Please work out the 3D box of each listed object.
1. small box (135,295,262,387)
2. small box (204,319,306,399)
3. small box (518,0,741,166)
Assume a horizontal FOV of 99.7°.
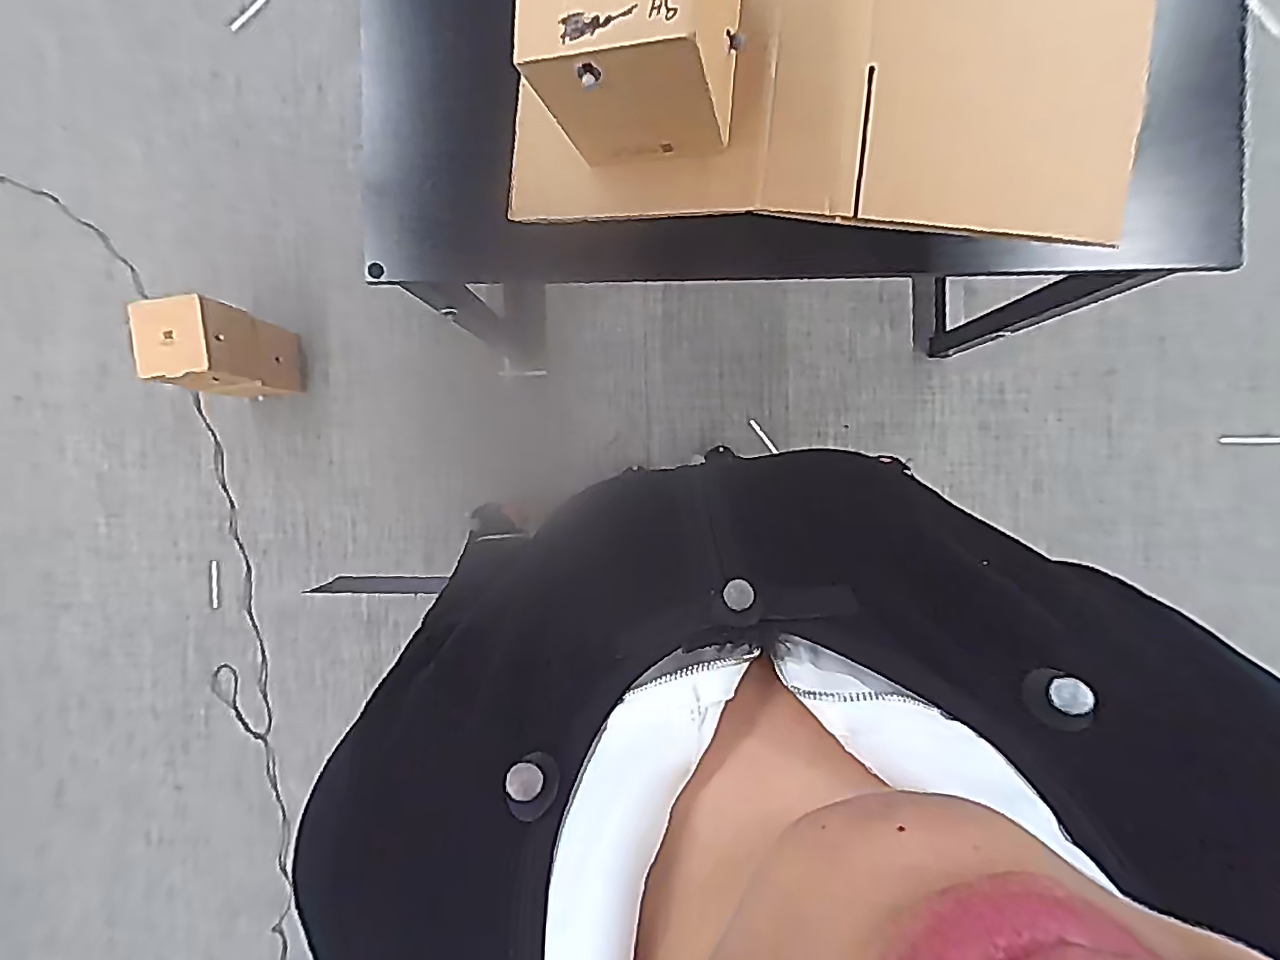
[{"bbox_3d":[-1.044,-0.322,1.294,0.168,0.176,0.179,-7,90,2],"label":"small box"},{"bbox_3d":[-1.036,-0.321,1.457,0.168,0.176,0.179,-4,92,3],"label":"small box"},{"bbox_3d":[0.002,-0.444,0.527,0.168,0.176,0.179,5,91,18],"label":"small box"}]
